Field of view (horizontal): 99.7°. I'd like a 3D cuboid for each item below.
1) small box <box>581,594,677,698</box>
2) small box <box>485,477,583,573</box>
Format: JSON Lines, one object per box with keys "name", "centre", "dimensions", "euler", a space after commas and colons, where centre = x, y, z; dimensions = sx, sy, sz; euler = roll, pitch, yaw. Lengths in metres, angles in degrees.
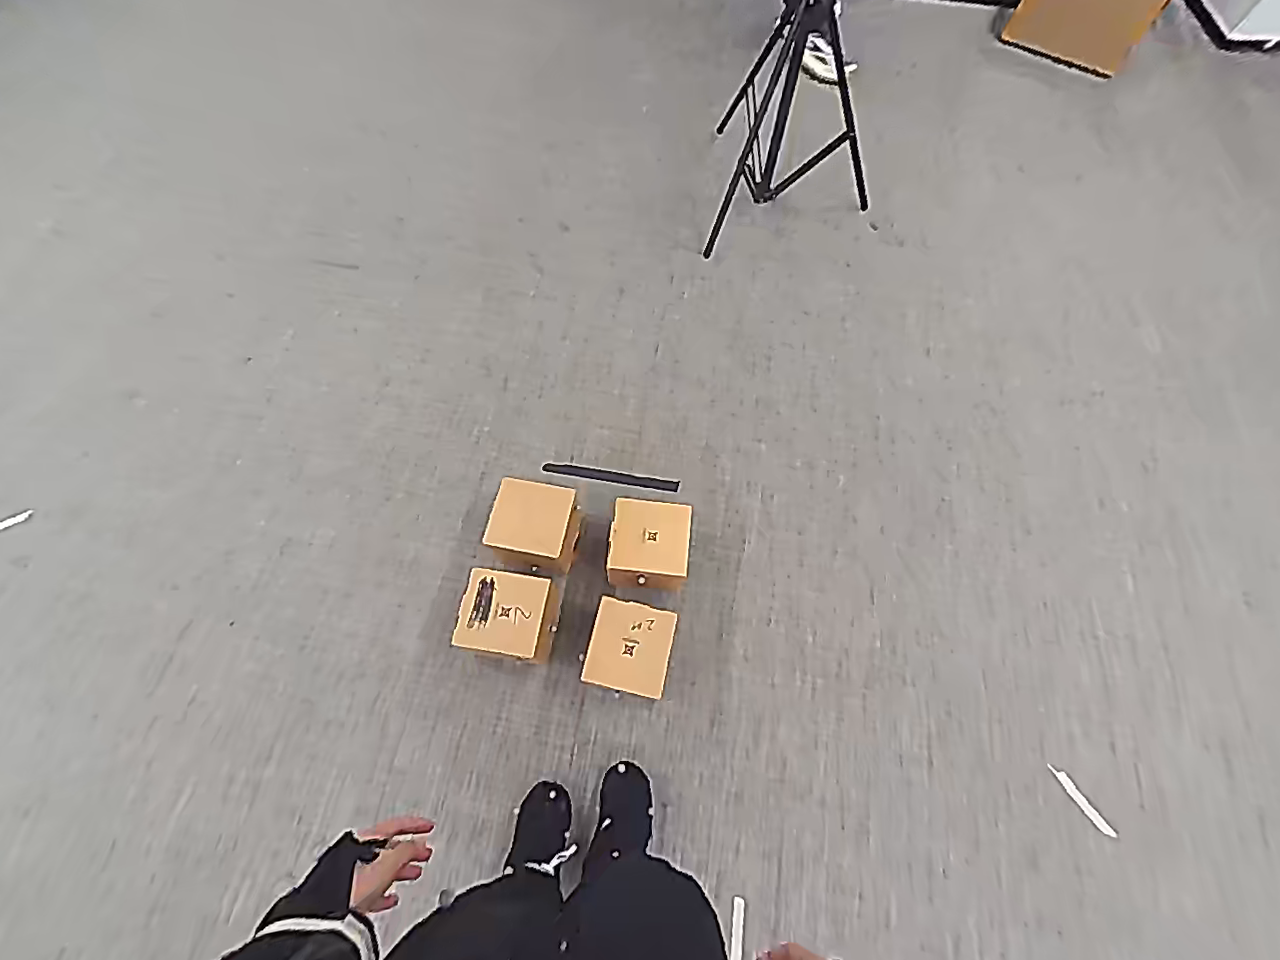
{"name": "small box", "centre": [-0.021, 0.367, 1.177], "dimensions": [0.168, 0.176, 0.179], "euler": [13, 67, 4]}
{"name": "small box", "centre": [-0.245, 0.109, 1.282], "dimensions": [0.179, 0.176, 0.168], "euler": [11, 67, 4]}
